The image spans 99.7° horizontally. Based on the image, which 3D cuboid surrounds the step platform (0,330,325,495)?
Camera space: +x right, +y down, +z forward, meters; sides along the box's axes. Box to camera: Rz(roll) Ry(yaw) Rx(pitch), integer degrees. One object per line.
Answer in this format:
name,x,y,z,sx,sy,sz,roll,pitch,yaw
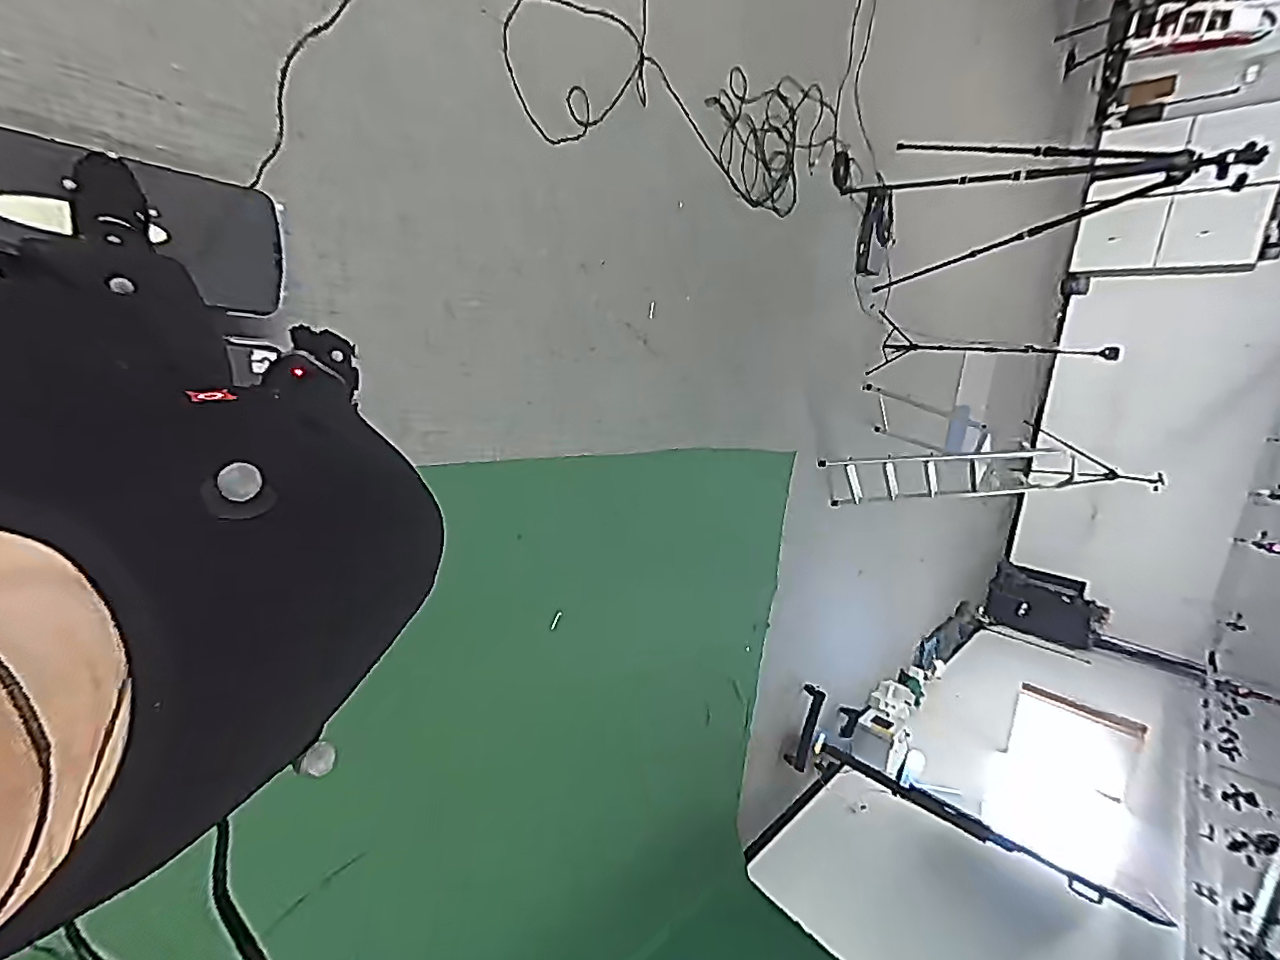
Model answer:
step platform,-0.968,-0.111,0.959,0.684,0.204,0.286,-6,106,-46
